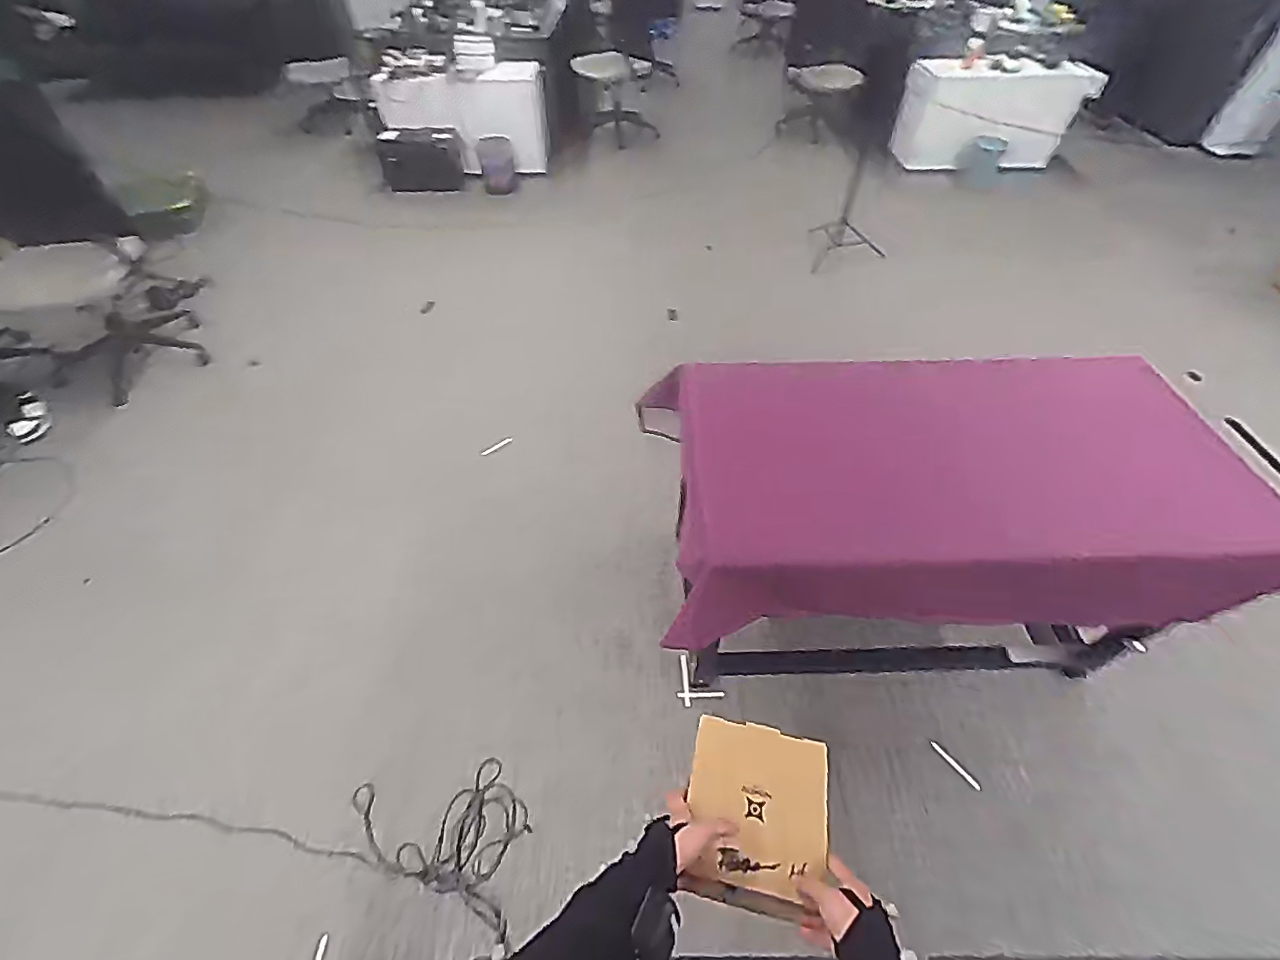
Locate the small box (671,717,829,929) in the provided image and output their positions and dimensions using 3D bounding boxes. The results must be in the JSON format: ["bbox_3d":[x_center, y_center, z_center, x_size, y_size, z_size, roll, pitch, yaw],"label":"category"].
[{"bbox_3d":[0.137,0.440,0.694,0.168,0.176,0.179,11,48,10],"label":"small box"}]
